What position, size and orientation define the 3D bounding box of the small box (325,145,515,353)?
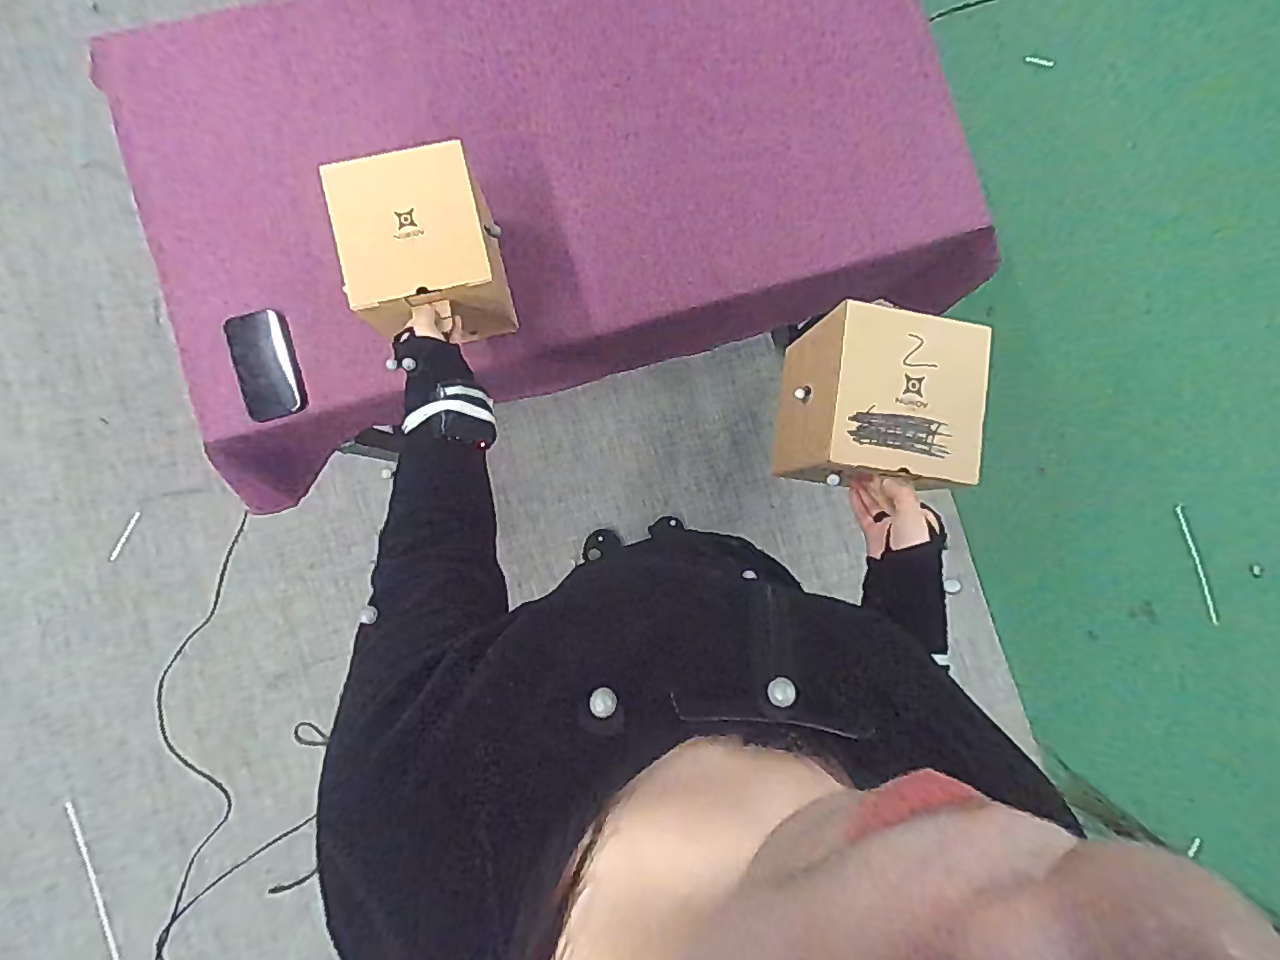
[{"bbox_3d":[-0.269,-0.285,0.699,0.168,0.176,0.179,-13,87,-5],"label":"small box"}]
